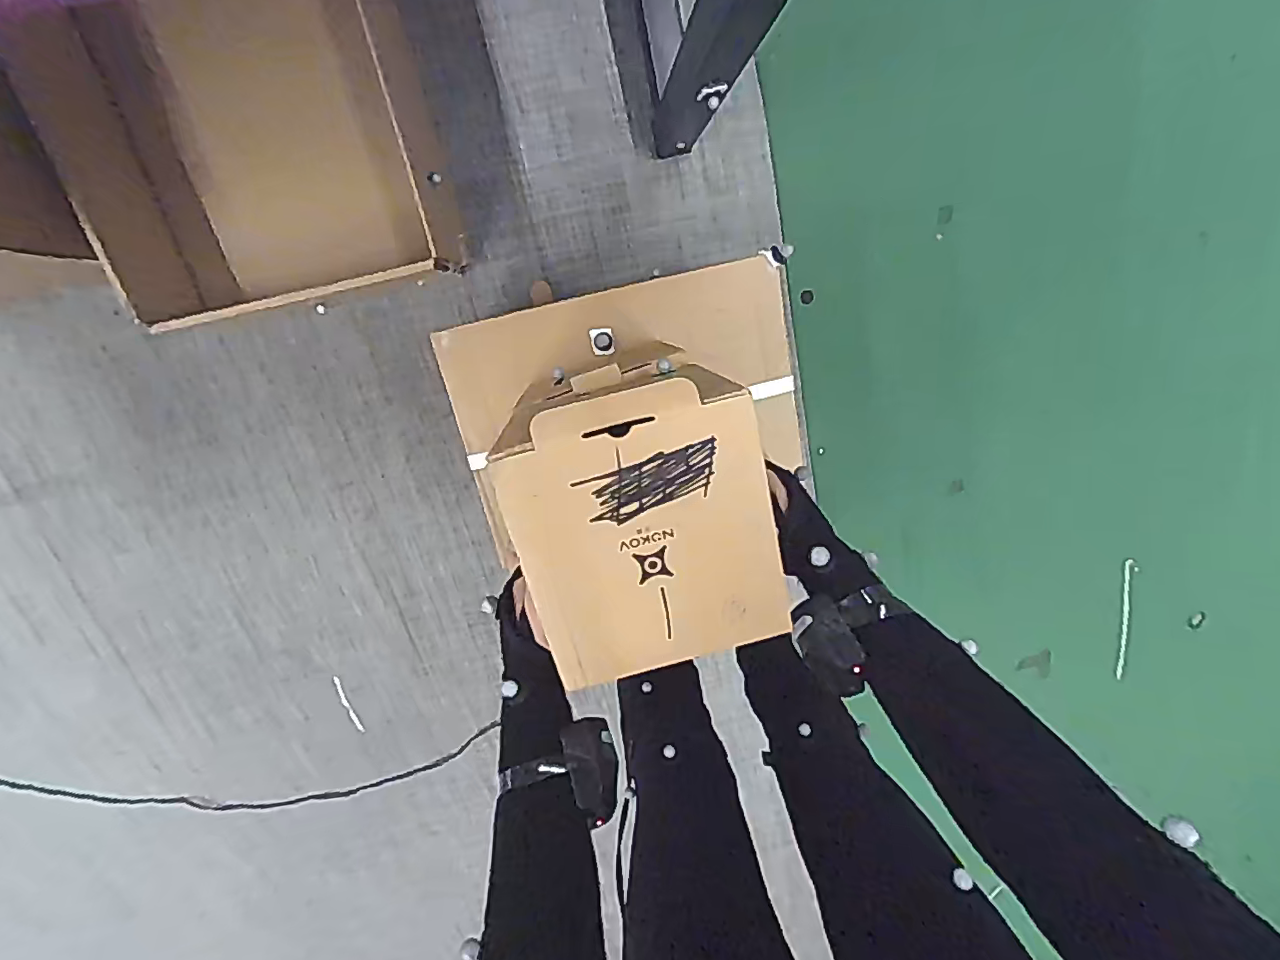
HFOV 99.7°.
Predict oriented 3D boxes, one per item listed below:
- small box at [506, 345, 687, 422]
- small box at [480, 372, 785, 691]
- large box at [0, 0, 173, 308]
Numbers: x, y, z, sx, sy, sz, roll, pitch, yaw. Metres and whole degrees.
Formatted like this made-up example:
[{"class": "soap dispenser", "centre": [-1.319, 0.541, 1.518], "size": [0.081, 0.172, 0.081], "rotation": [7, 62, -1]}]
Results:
[{"class": "small box", "centre": [-0.025, -0.035, 0.570], "size": [0.168, 0.176, 0.179], "rotation": [-19, 108, 1]}, {"class": "small box", "centre": [-0.006, 0.020, 0.417], "size": [0.168, 0.176, 0.179], "rotation": [-15, 109, -1]}, {"class": "large box", "centre": [-0.884, -0.427, 0.620], "size": [0.320, 0.320, 0.408], "rotation": [-14, 109, -1]}]
